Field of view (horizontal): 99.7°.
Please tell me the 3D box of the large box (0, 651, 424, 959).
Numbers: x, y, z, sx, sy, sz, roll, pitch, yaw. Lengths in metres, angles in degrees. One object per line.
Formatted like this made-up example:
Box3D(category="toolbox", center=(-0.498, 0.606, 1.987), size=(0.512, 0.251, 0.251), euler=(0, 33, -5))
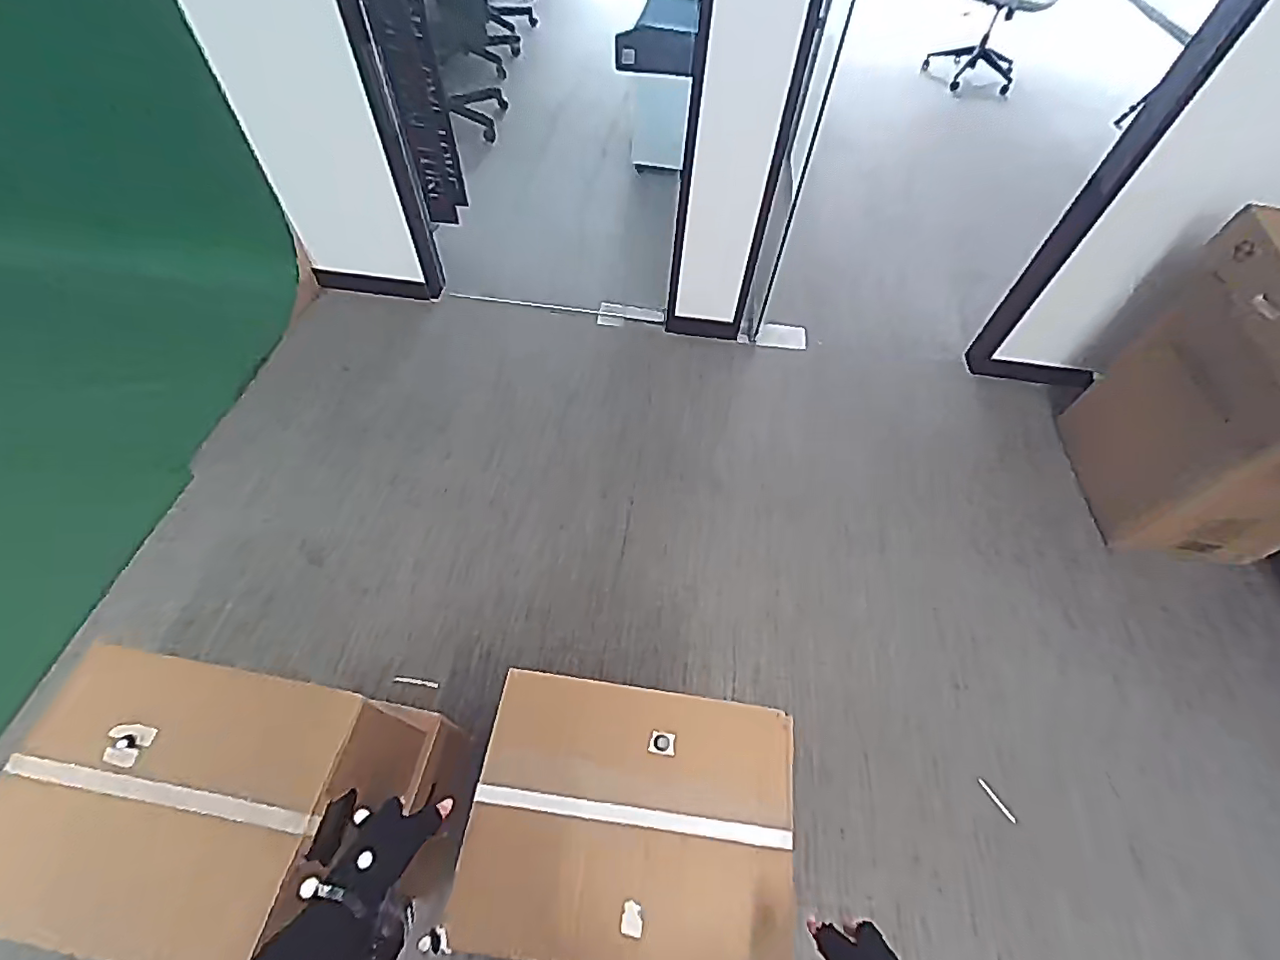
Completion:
Box3D(category="large box", center=(-0.603, 0.476, 0.797), size=(0.408, 0.320, 0.320), euler=(10, 57, 4))
